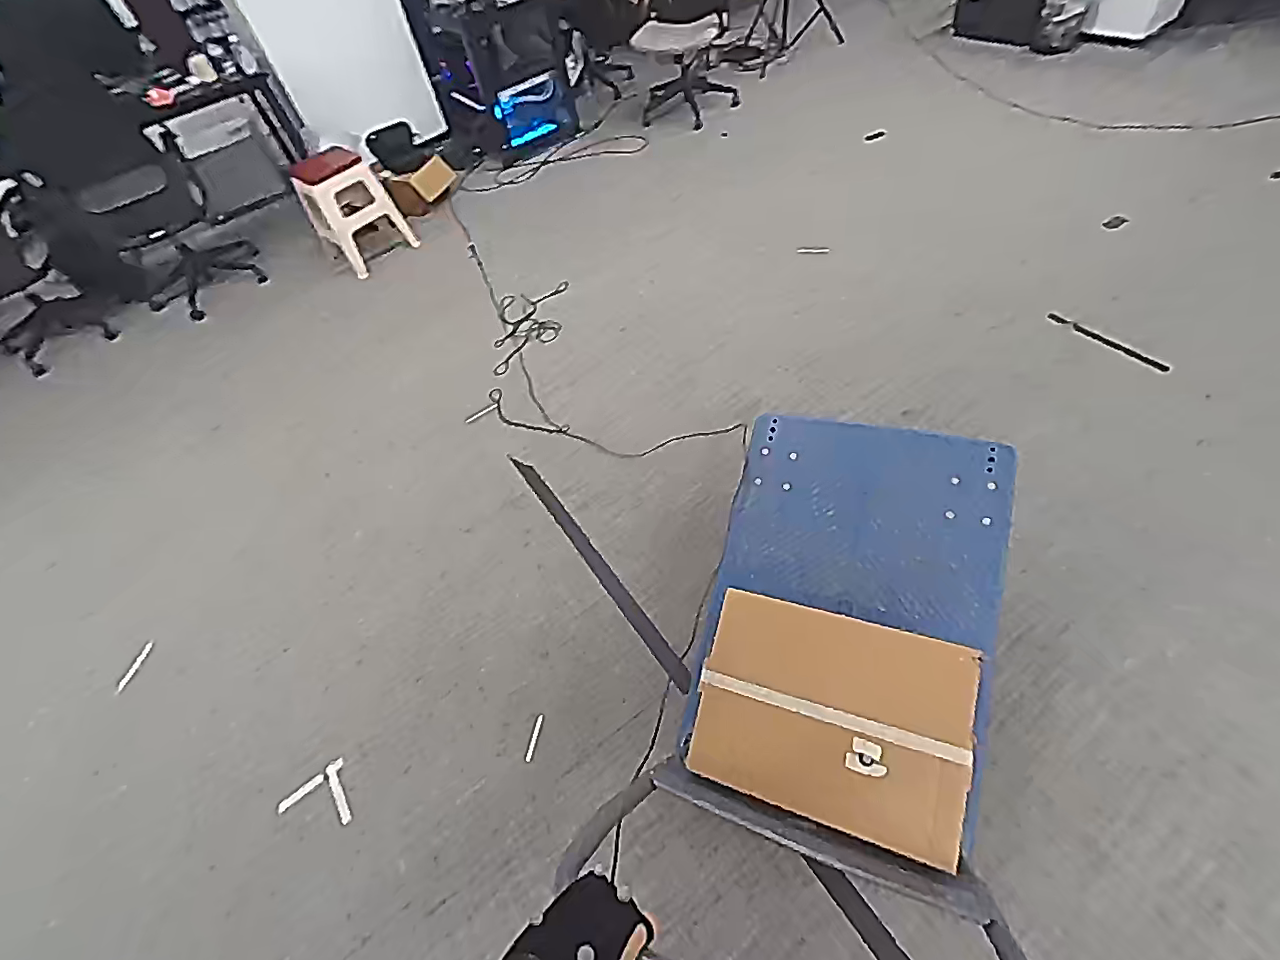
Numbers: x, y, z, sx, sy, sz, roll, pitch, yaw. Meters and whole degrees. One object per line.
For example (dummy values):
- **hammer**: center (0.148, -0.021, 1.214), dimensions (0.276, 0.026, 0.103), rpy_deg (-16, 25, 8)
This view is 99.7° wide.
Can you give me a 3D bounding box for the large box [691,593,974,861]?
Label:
- **large box**: center (0.348, 0.426, 1.017), dimensions (0.408, 0.320, 0.320), rpy_deg (11, 75, 21)
